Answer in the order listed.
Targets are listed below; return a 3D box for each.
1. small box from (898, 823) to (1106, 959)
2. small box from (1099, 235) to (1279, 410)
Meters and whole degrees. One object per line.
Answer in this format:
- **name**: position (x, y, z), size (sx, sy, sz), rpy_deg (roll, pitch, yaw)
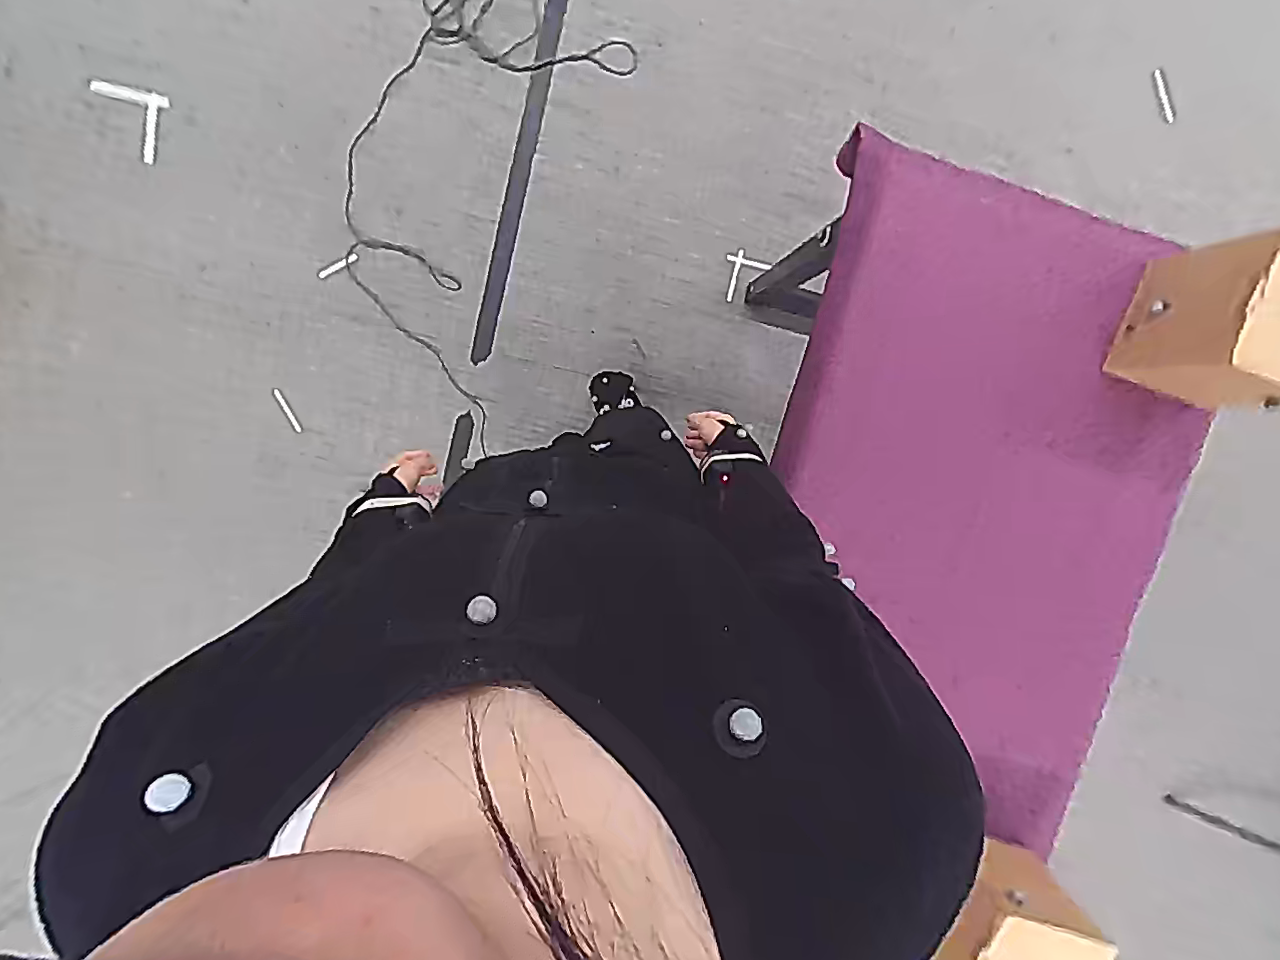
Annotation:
- **small box**: position (0.545, 0.678, 0.840), size (0.179, 0.176, 0.168), rpy_deg (19, 97, -3)
- **small box**: position (0.788, -0.198, 0.722), size (0.179, 0.176, 0.168), rpy_deg (18, 97, -5)
